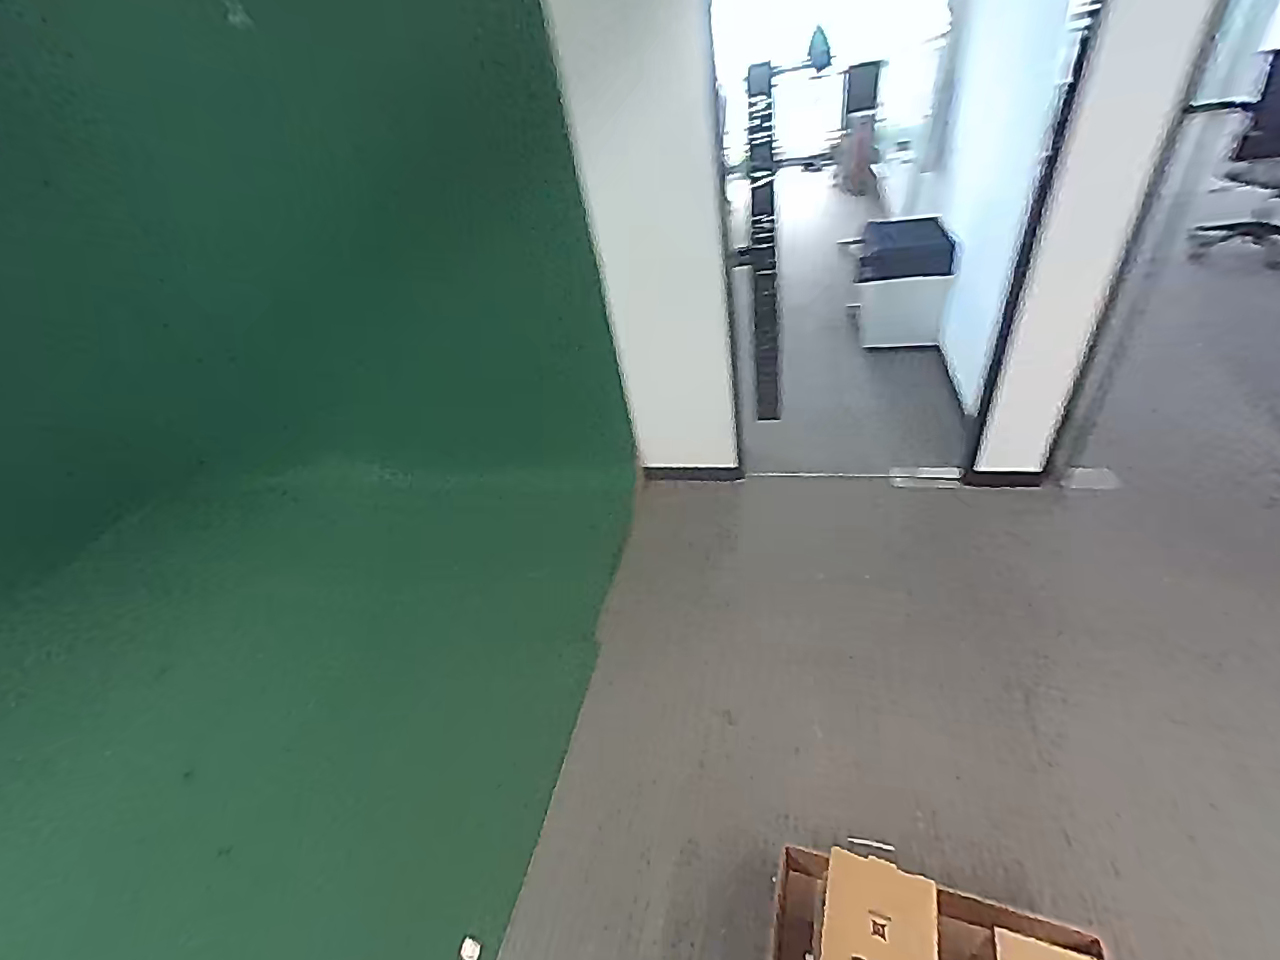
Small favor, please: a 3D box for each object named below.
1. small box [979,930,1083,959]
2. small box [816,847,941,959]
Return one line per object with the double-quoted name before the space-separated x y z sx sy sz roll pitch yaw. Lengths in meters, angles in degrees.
"small box" 0.676 0.903 0.893 0.168 0.176 0.179 5 40 22
"small box" 0.385 0.756 0.887 0.168 0.176 0.179 8 40 22
